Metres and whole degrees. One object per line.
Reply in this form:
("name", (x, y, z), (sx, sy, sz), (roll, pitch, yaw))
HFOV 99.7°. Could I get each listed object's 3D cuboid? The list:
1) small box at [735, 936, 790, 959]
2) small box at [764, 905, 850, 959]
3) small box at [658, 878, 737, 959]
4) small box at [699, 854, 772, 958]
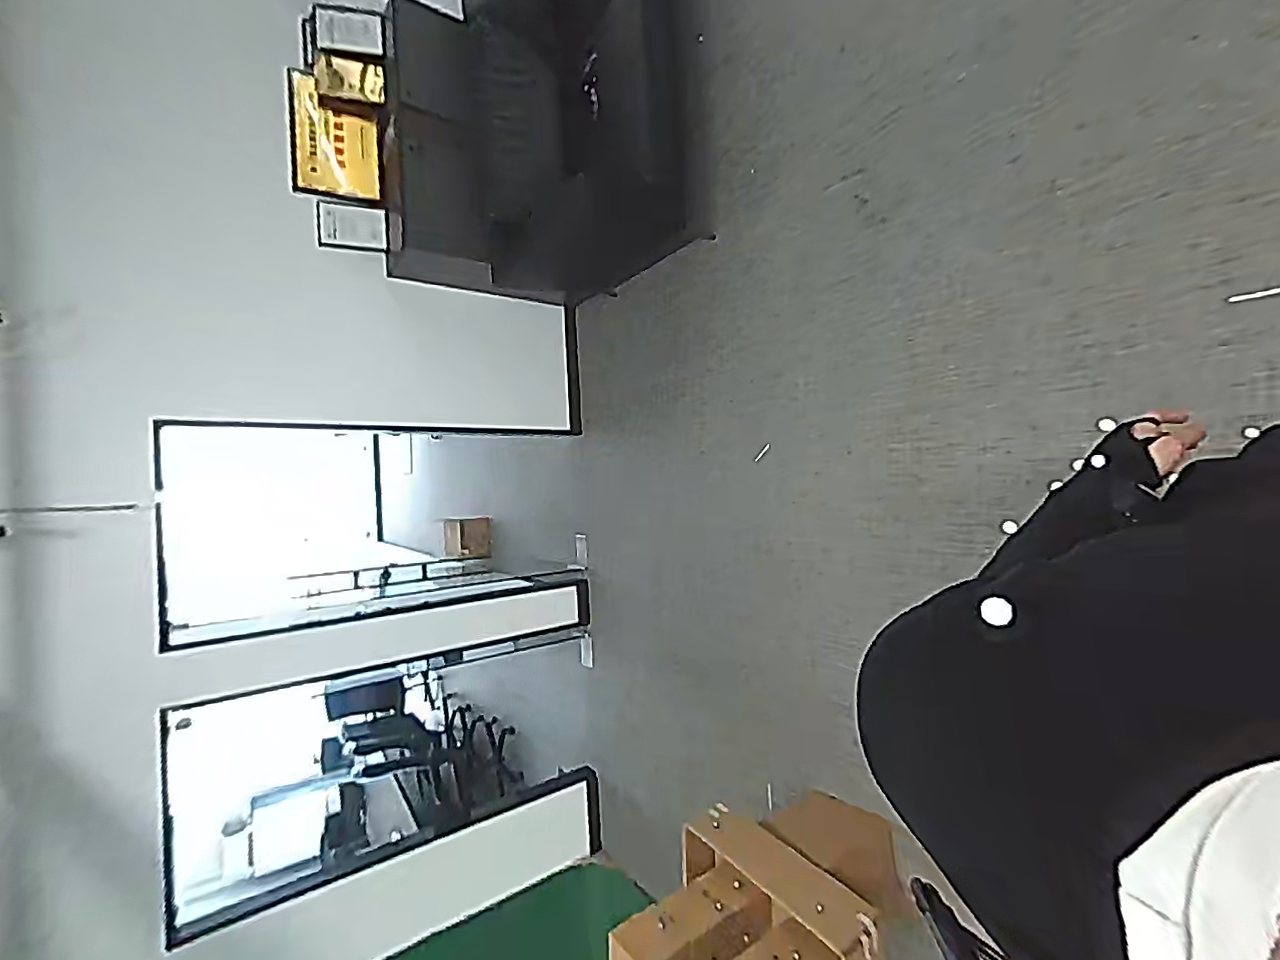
("small box", (0.326, 1.339, 1.385), (0.168, 0.176, 0.179), (6, 97, 55))
("small box", (0.458, 1.336, 1.483), (0.168, 0.176, 0.179), (4, 96, 55))
("small box", (0.172, 1.343, 1.606), (0.168, 0.176, 0.179), (-1, 92, 54))
("small box", (0.303, 1.335, 1.705), (0.168, 0.176, 0.179), (1, 93, 54))
